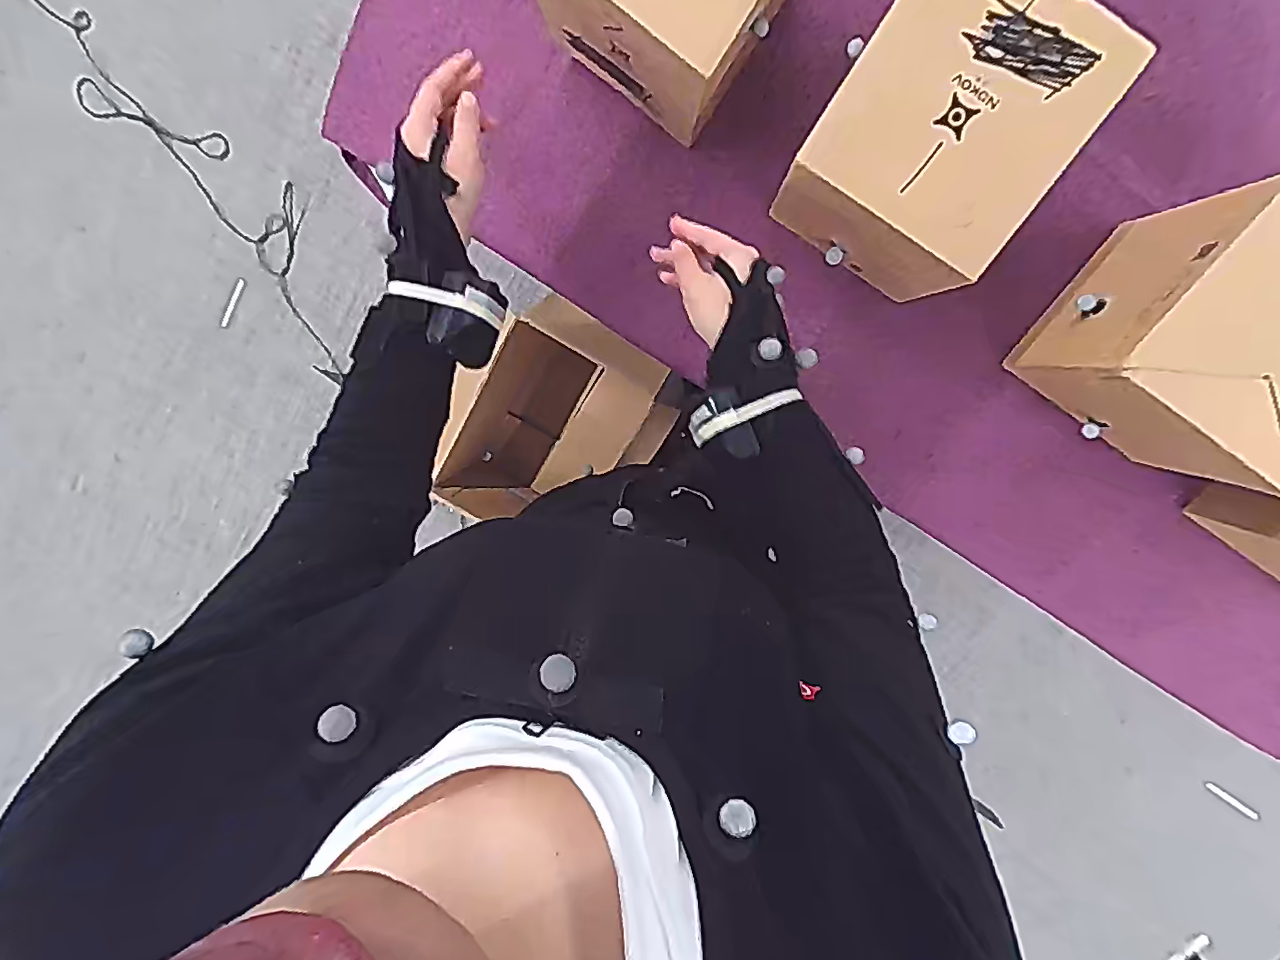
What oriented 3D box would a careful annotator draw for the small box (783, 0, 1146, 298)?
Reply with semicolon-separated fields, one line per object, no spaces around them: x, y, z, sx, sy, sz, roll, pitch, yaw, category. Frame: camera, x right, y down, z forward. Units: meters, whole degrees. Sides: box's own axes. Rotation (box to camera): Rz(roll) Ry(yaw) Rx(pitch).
0.242;-0.280;0.463;0.168;0.176;0.179;34;104;-1;small box

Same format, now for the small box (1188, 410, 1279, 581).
0.676;0.031;0.476;0.179;0.176;0.168;35;102;-2;small box
